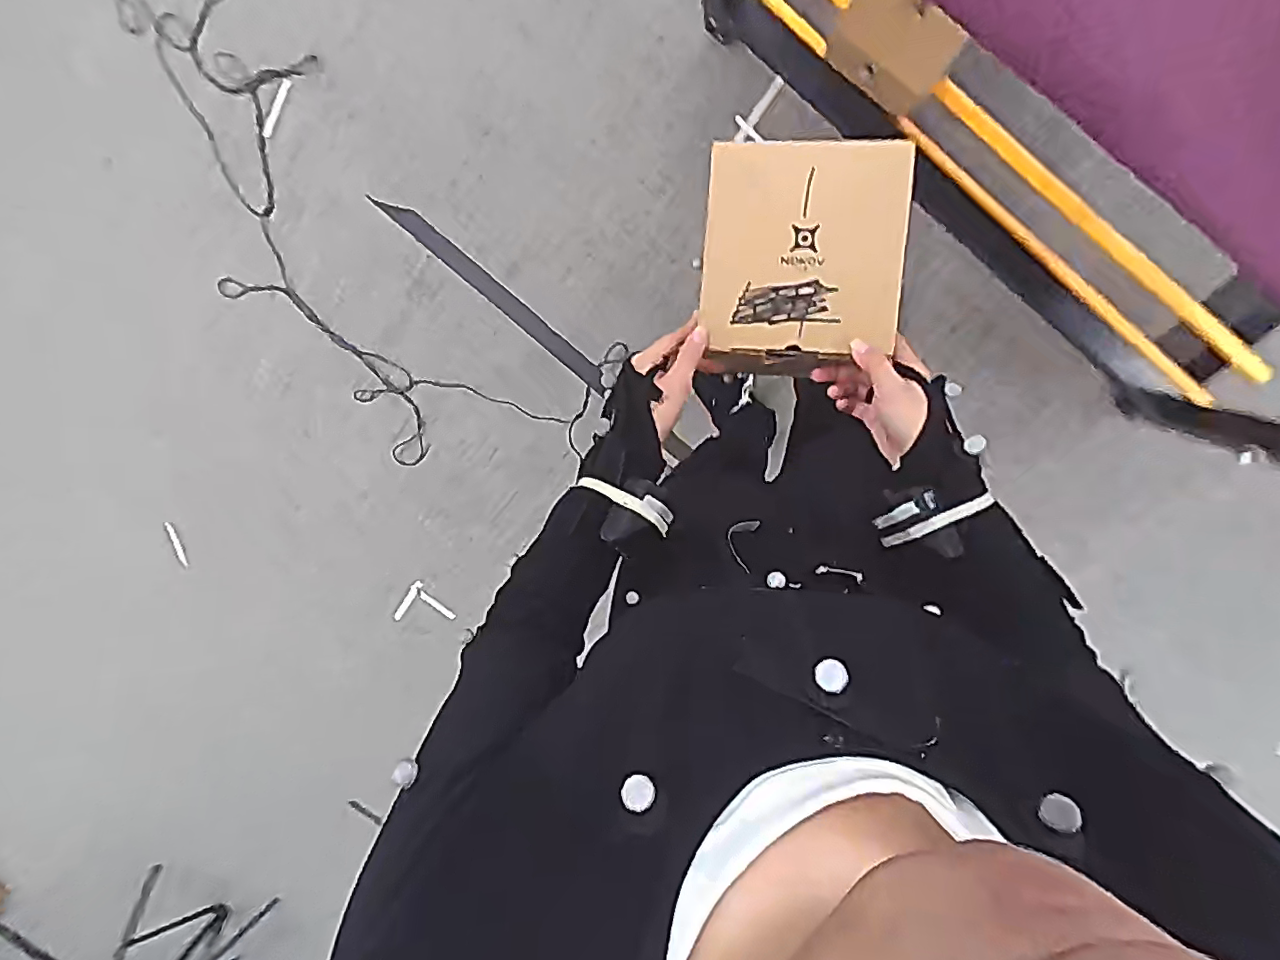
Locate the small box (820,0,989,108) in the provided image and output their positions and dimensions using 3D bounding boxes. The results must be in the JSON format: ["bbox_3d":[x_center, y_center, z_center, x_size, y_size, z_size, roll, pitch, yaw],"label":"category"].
[{"bbox_3d":[0.405,-0.714,0.835,0.179,0.176,0.168,35,114,-3],"label":"small box"}]

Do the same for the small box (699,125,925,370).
[{"bbox_3d":[0.150,-0.207,0.526,0.168,0.176,0.179,5,94,7],"label":"small box"}]

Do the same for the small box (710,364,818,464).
[{"bbox_3d":[0.262,-0.148,1.169,0.179,0.176,0.168,-27,101,15],"label":"small box"}]
